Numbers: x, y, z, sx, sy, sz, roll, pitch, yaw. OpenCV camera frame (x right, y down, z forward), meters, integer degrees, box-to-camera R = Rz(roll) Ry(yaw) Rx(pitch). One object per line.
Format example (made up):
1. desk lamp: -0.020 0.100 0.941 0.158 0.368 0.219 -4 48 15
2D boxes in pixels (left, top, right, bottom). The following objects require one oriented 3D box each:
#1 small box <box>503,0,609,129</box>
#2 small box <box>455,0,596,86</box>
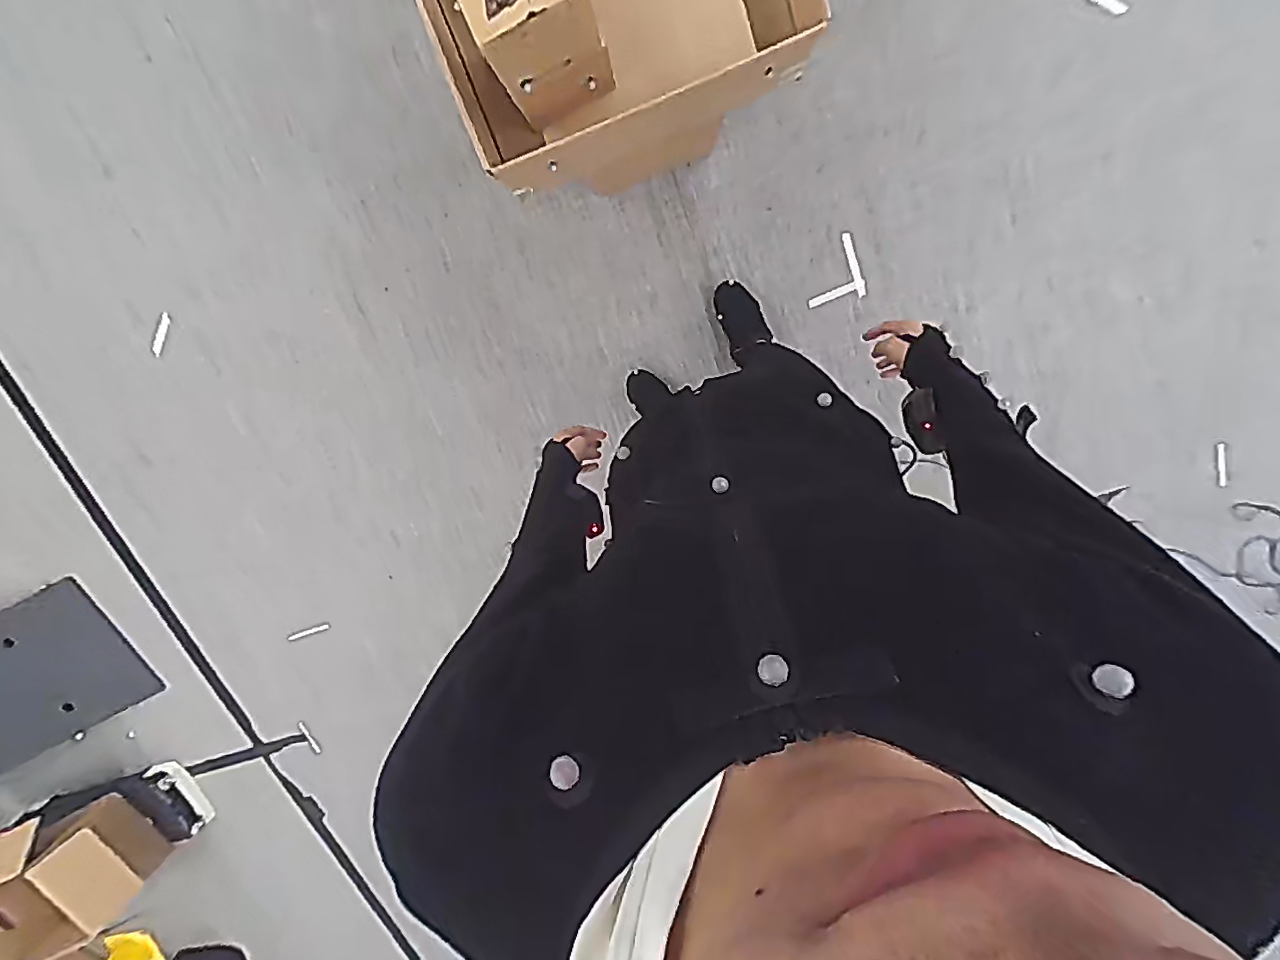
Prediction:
1. small box: -0.162 -0.746 0.923 0.179 0.176 0.168 -23 104 10
2. small box: -0.174 -0.703 0.766 0.168 0.176 0.179 -22 103 9
